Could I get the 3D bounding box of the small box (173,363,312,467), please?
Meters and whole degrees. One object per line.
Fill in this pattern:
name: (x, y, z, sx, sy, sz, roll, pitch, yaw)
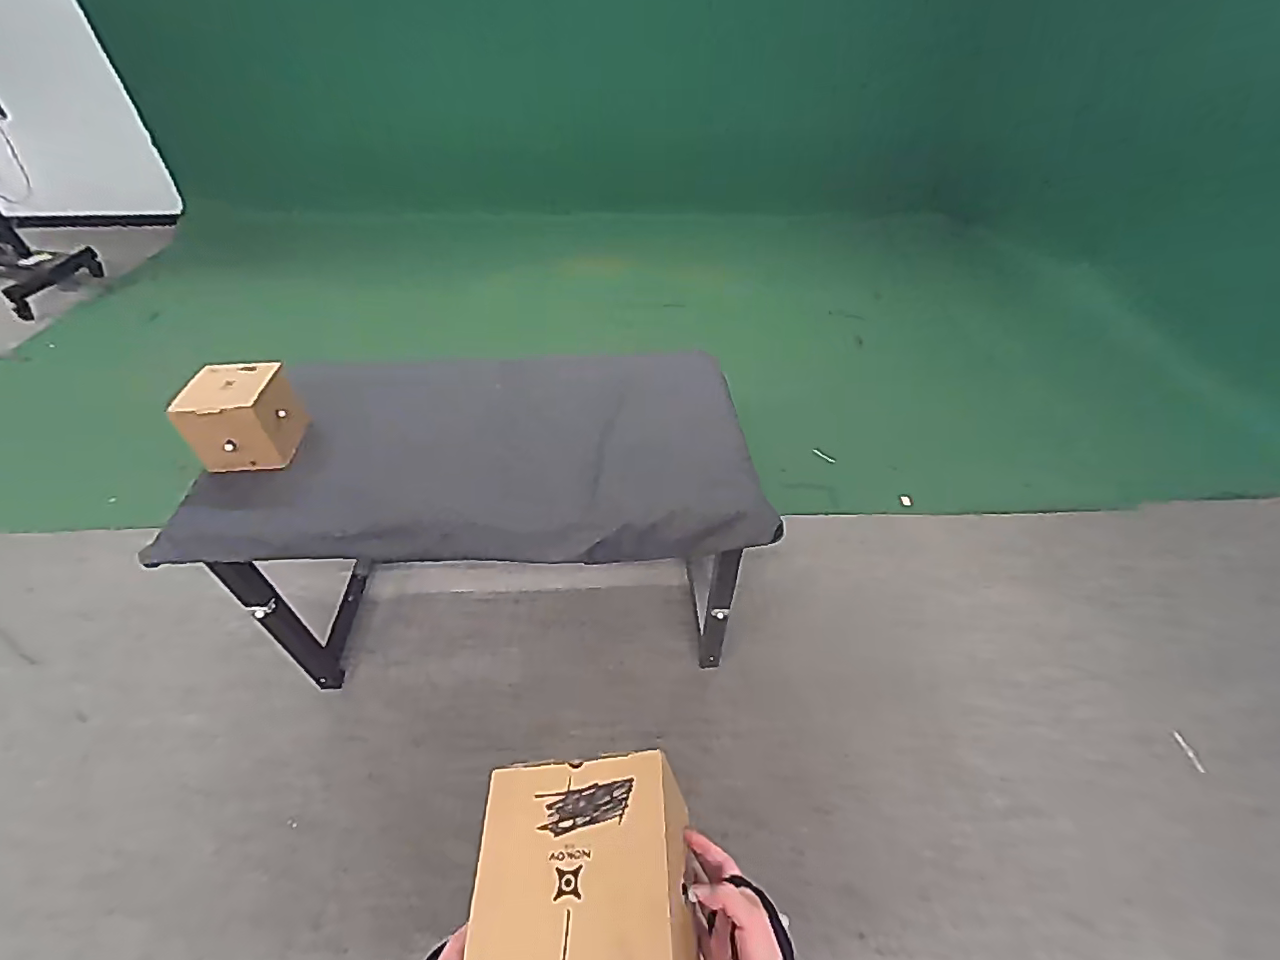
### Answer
small box: (-0.869, -0.141, 1.206, 0.168, 0.176, 0.179, -3, 45, -5)
